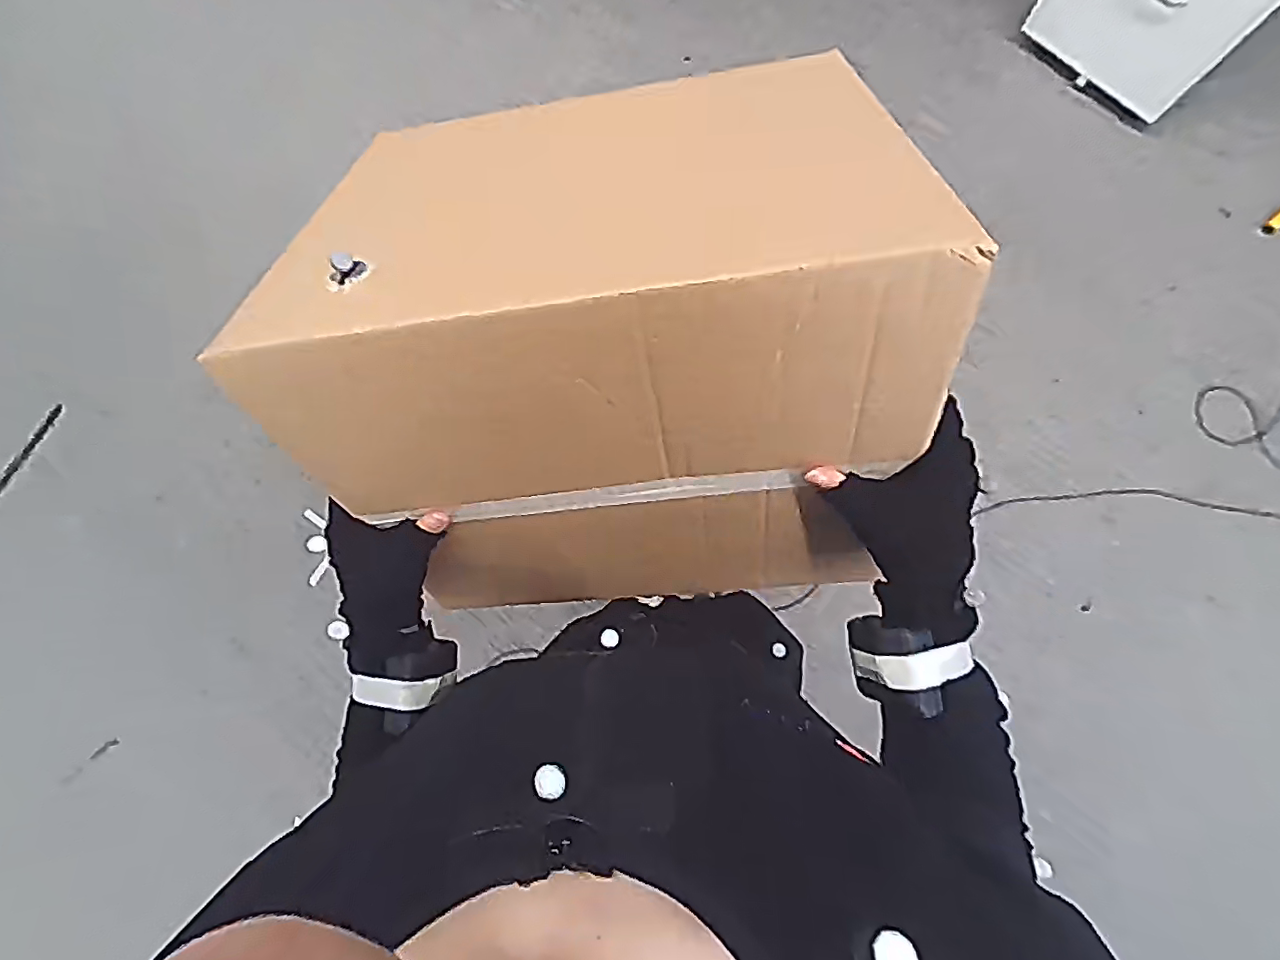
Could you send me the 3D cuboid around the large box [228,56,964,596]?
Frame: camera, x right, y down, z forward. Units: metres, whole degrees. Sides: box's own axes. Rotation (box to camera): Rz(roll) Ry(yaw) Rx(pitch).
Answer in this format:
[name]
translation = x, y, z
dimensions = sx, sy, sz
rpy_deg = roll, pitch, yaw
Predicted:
[large box]
translation = -0.019, -0.118, 0.486
dimensions = 0.408, 0.320, 0.320
rpy_deg = -6, 52, 7
